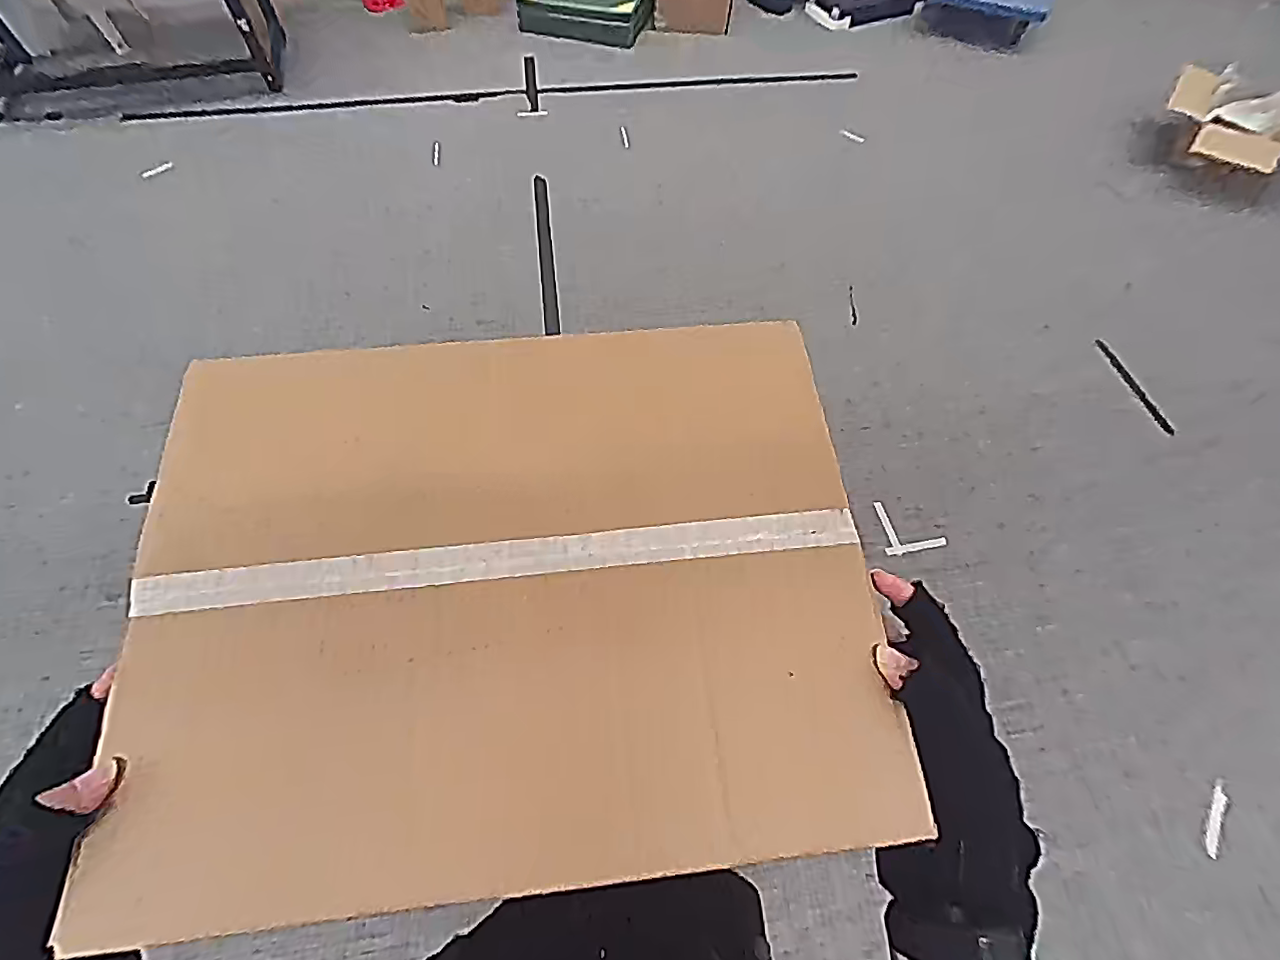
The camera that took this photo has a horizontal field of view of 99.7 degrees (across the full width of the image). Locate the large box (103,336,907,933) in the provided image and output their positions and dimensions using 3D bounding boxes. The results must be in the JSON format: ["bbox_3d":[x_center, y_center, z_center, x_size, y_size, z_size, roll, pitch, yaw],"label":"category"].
[{"bbox_3d":[-0.078,0.111,0.460,0.408,0.320,0.320,-5,68,-4],"label":"large box"}]
